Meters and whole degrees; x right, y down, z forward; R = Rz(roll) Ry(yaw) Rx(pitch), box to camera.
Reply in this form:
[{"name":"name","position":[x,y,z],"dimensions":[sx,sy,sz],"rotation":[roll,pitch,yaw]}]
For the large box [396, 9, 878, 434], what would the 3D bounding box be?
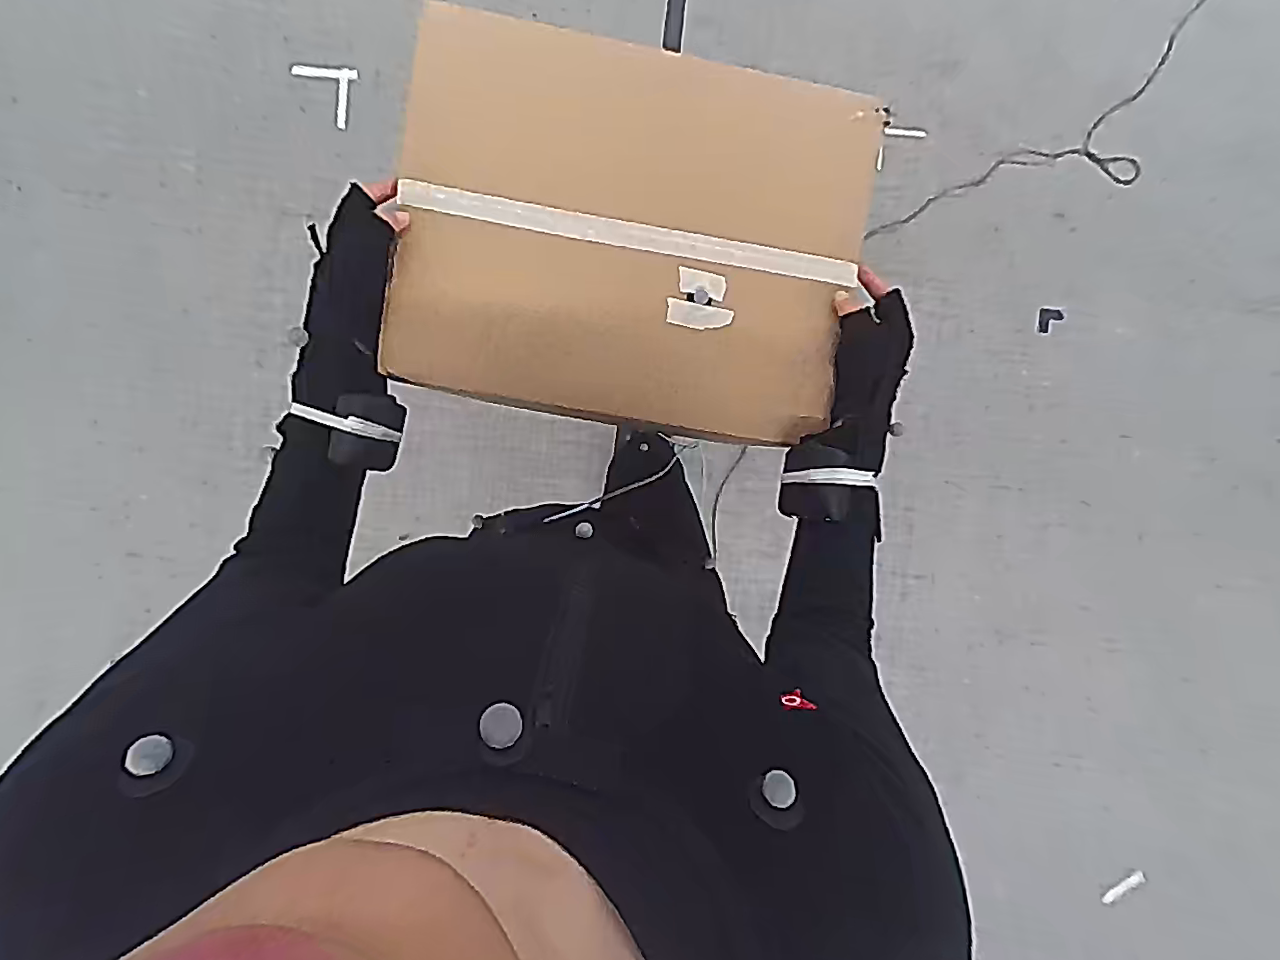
[{"name":"large box","position":[-0.013,-0.235,0.632],"dimensions":[0.408,0.320,0.320],"rotation":[9,95,-5]}]
